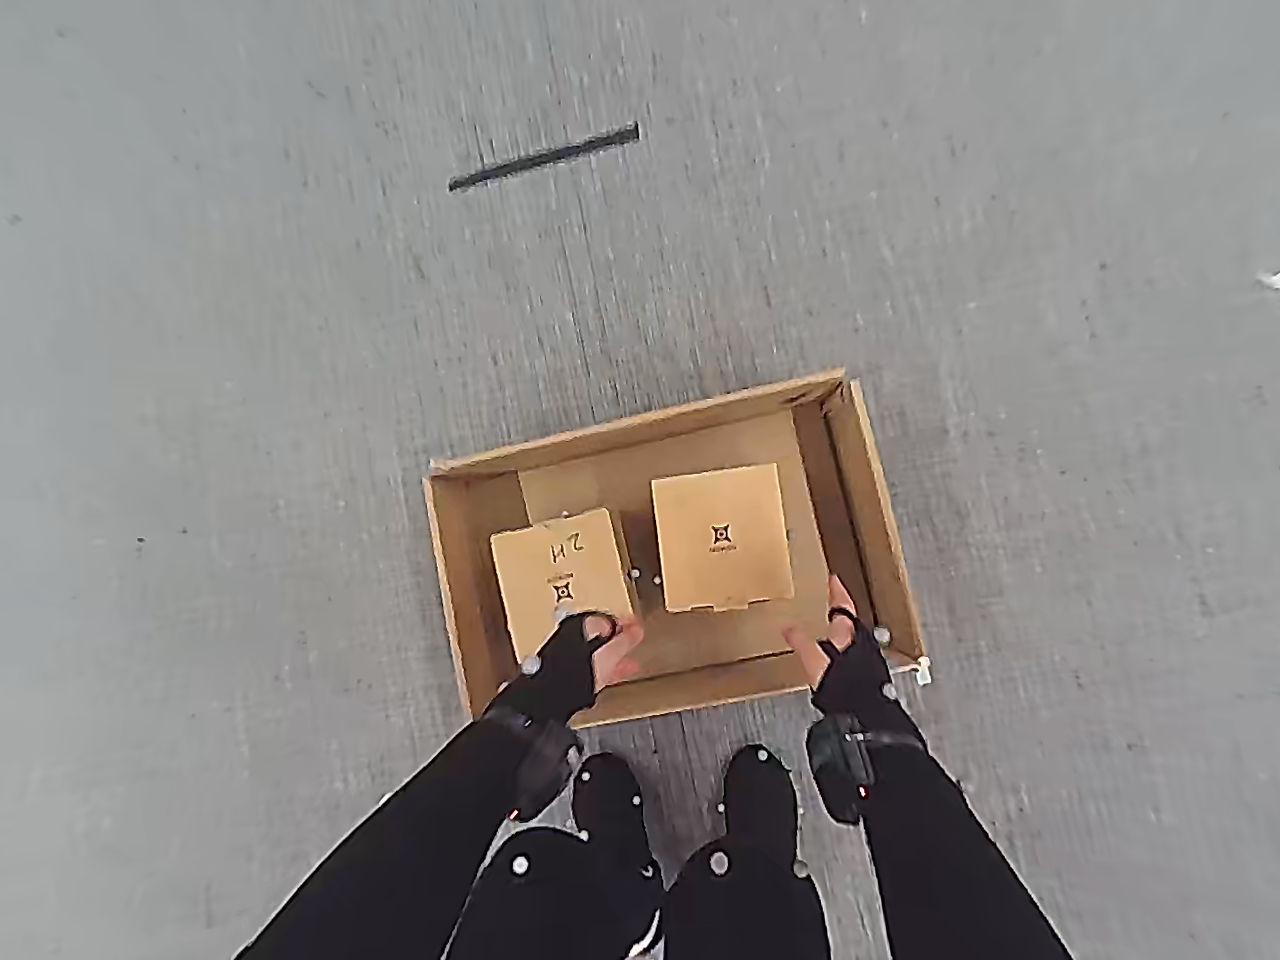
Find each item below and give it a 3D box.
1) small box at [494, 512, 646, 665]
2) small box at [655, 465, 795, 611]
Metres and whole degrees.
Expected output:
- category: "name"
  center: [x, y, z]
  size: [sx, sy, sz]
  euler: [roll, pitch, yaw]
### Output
- category: "small box"
  center: [-0.091, 0.148, 0.792]
  size: [0.168, 0.176, 0.179]
  euler: [-14, 84, 3]
- category: "small box"
  center: [0.116, 0.082, 0.777]
  size: [0.168, 0.176, 0.179]
  euler: [-7, 85, 6]
